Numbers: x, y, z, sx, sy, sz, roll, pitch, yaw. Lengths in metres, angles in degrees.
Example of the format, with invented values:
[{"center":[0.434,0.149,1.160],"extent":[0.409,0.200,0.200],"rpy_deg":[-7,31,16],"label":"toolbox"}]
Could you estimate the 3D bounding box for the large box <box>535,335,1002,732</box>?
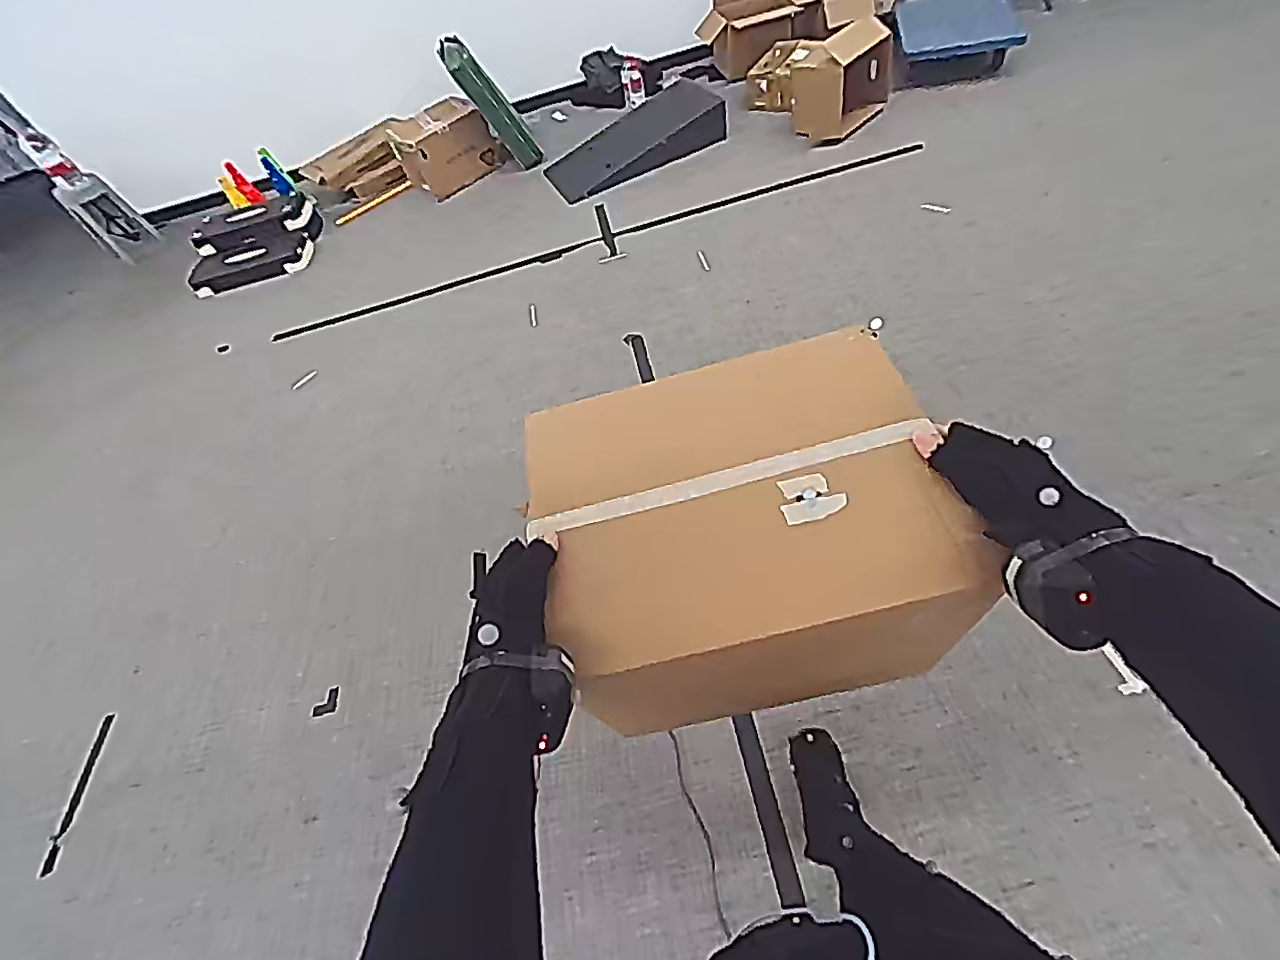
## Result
[{"center":[0.118,0.083,0.672],"extent":[0.408,0.320,0.320],"rpy_deg":[-15,56,3],"label":"large box"}]
